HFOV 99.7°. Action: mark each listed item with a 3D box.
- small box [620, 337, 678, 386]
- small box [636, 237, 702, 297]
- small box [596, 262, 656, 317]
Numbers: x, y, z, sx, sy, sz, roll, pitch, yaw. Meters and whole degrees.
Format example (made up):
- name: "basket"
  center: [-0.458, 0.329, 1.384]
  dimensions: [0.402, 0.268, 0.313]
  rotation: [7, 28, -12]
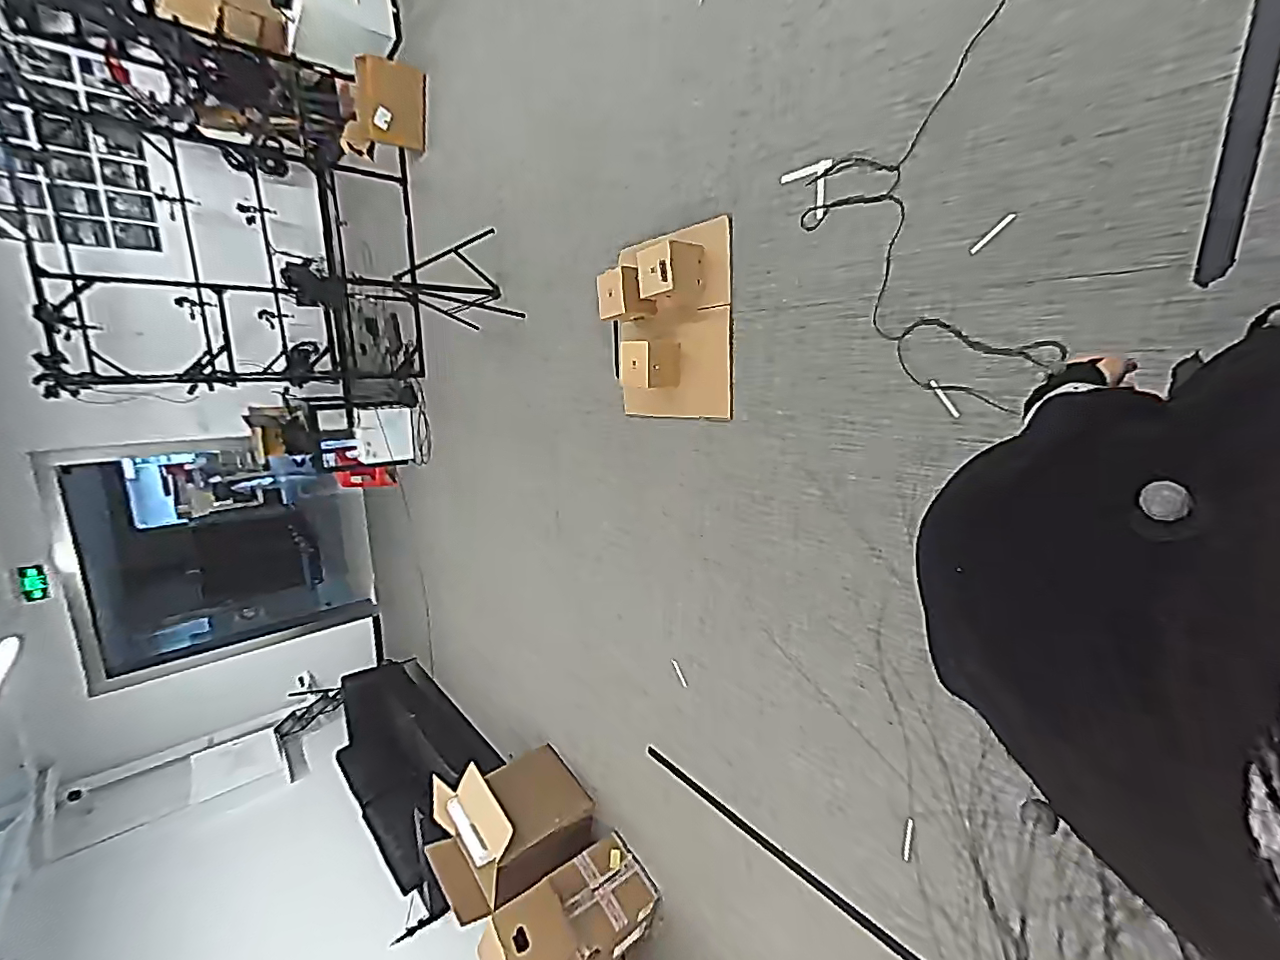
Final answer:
- name: "small box"
  center: [0.037, -0.464, 2.106]
  dimensions: [0.168, 0.176, 0.179]
  rotation: [16, 112, 47]
- name: "small box"
  center: [0.110, -0.762, 1.948]
  dimensions: [0.179, 0.176, 0.168]
  rotation: [6, 103, 50]
- name: "small box"
  center: [-0.054, -0.752, 2.151]
  dimensions: [0.168, 0.176, 0.179]
  rotation: [4, 102, 51]
